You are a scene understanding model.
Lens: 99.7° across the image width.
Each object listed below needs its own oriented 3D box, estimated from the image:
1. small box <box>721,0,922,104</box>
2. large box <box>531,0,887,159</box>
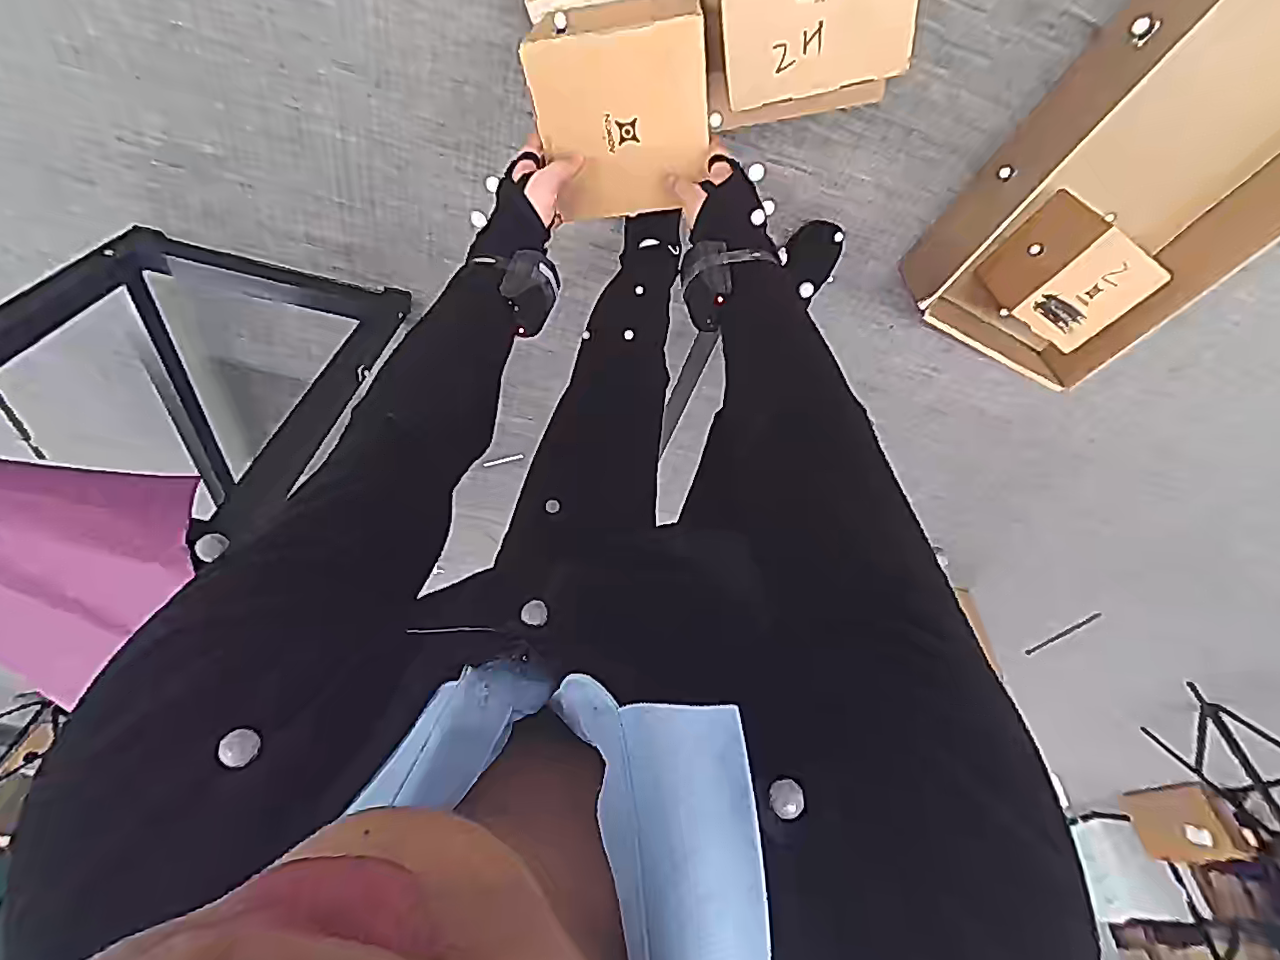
[{"bbox_3d":[0.158,-0.487,0.501,0.168,0.176,0.179,-5,137,12],"label":"small box"},{"bbox_3d":[0.084,-0.663,0.682,0.408,0.320,0.320,-4,136,11],"label":"large box"}]
